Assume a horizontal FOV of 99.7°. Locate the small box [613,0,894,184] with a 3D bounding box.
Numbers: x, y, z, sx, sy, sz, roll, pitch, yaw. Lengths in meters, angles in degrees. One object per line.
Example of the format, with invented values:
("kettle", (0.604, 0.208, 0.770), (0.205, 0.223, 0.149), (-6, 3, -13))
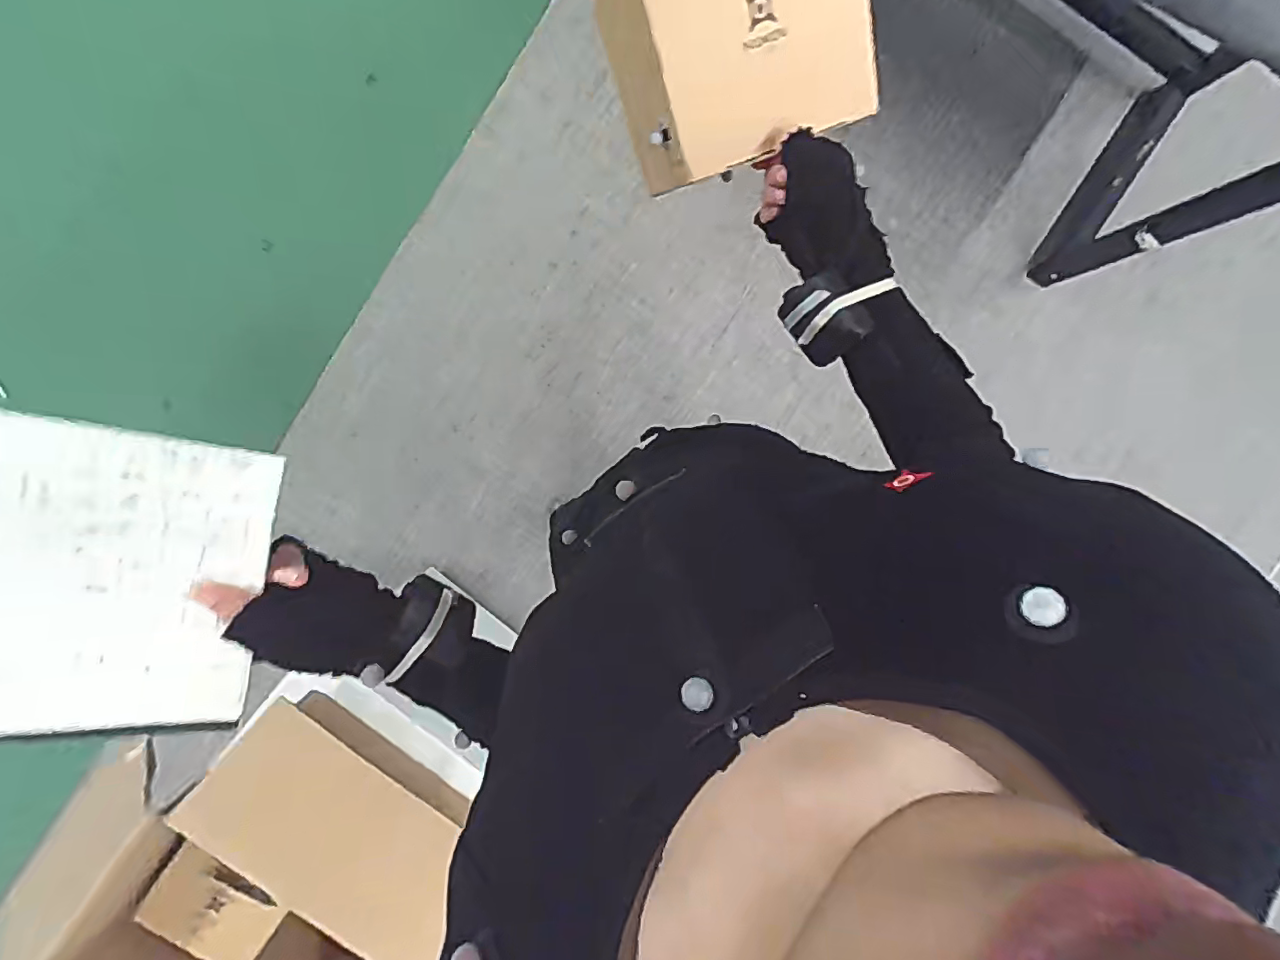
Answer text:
("small box", (0.086, -0.376, 0.461), (0.168, 0.176, 0.179), (-21, 118, -1))
